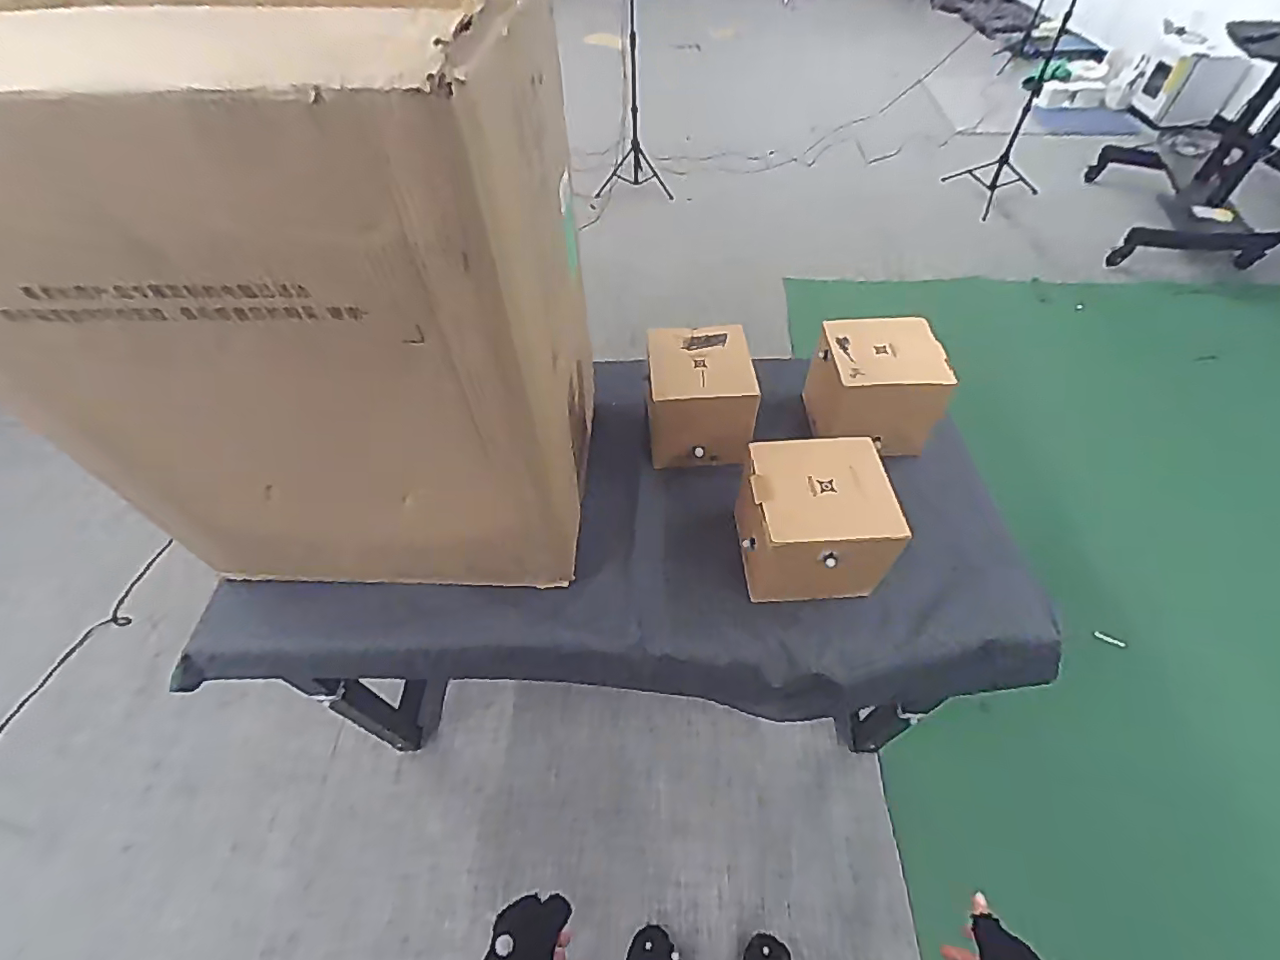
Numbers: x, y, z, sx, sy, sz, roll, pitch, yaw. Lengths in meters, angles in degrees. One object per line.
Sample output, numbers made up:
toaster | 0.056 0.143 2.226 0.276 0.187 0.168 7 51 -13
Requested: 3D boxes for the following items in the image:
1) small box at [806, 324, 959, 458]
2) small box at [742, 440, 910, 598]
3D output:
small box | 0.406 -0.151 0.938 0.179 0.176 0.168 0 50 1
small box | 0.248 0.061 0.777 0.179 0.176 0.168 -2 53 -1
